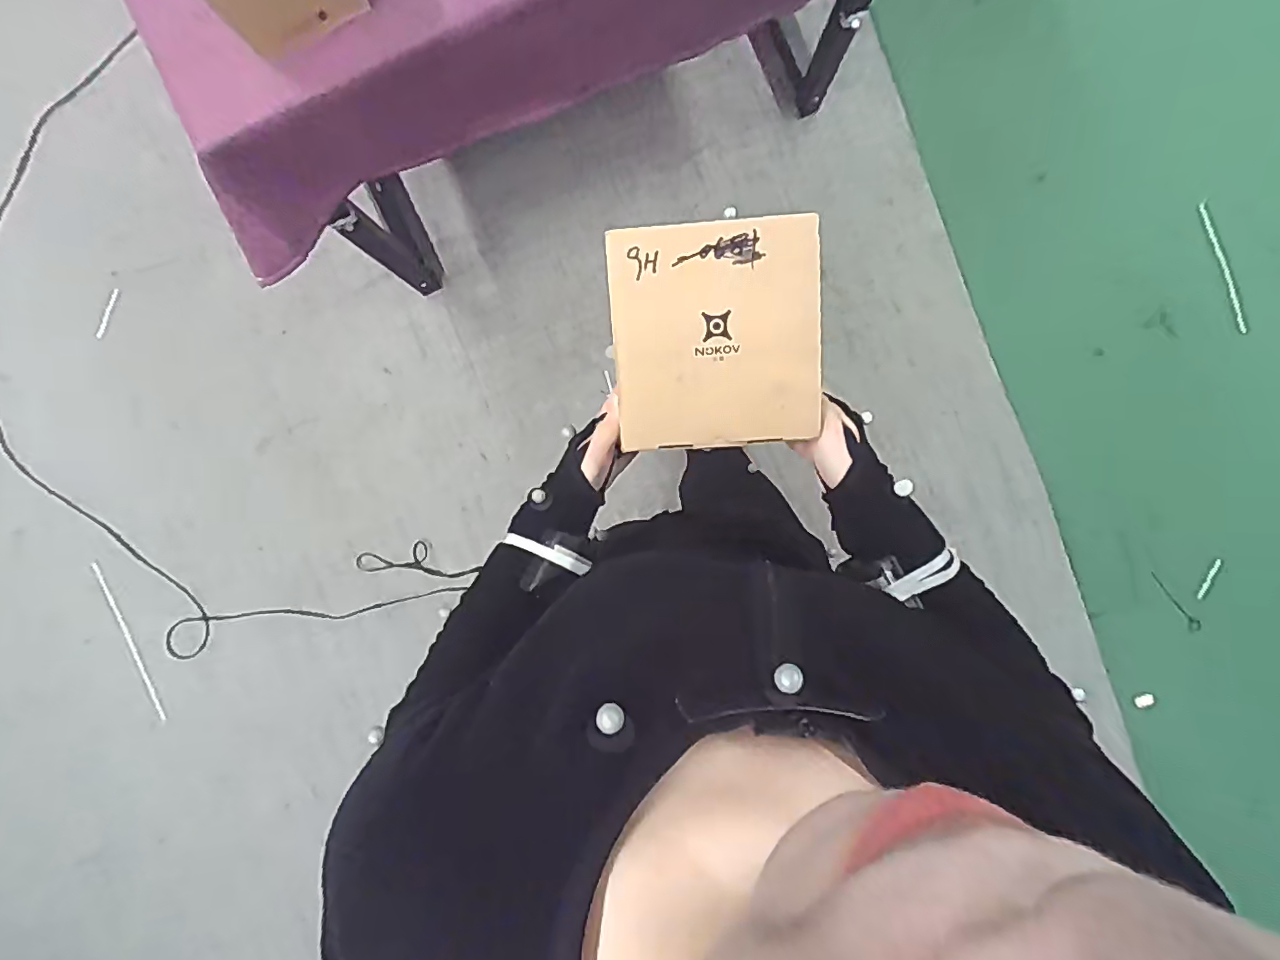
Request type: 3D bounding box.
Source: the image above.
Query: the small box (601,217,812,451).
[{"bbox_3d":[0.058,-0.131,0.512,0.168,0.176,0.179,-4,102,1],"label":"small box"}]

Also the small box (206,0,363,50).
[{"bbox_3d":[-0.477,-0.676,0.655,0.168,0.176,0.179,-26,91,0],"label":"small box"}]
